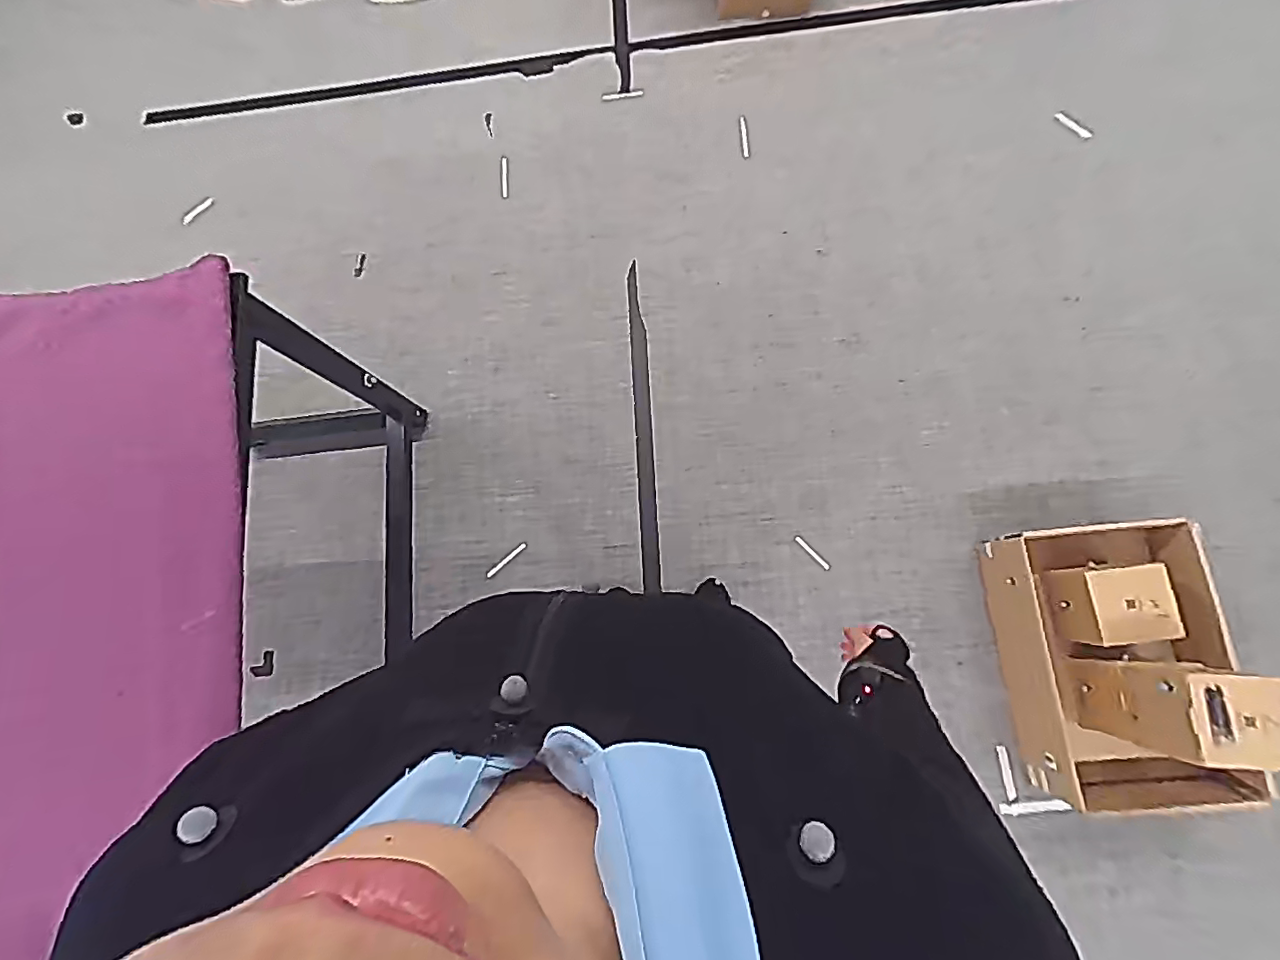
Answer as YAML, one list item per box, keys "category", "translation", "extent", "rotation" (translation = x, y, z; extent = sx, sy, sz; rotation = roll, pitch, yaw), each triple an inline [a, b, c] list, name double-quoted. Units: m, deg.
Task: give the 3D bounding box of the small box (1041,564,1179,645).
- category: "small box"
  translation: [1.105, 0.294, 1.293]
  extent: [0.179, 0.176, 0.168]
  rotation: [-8, 80, 3]

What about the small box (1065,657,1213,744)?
- category: "small box"
  translation: [1.142, 0.503, 1.252]
  extent: [0.179, 0.176, 0.168]
  rotation: [-1, 76, 5]
